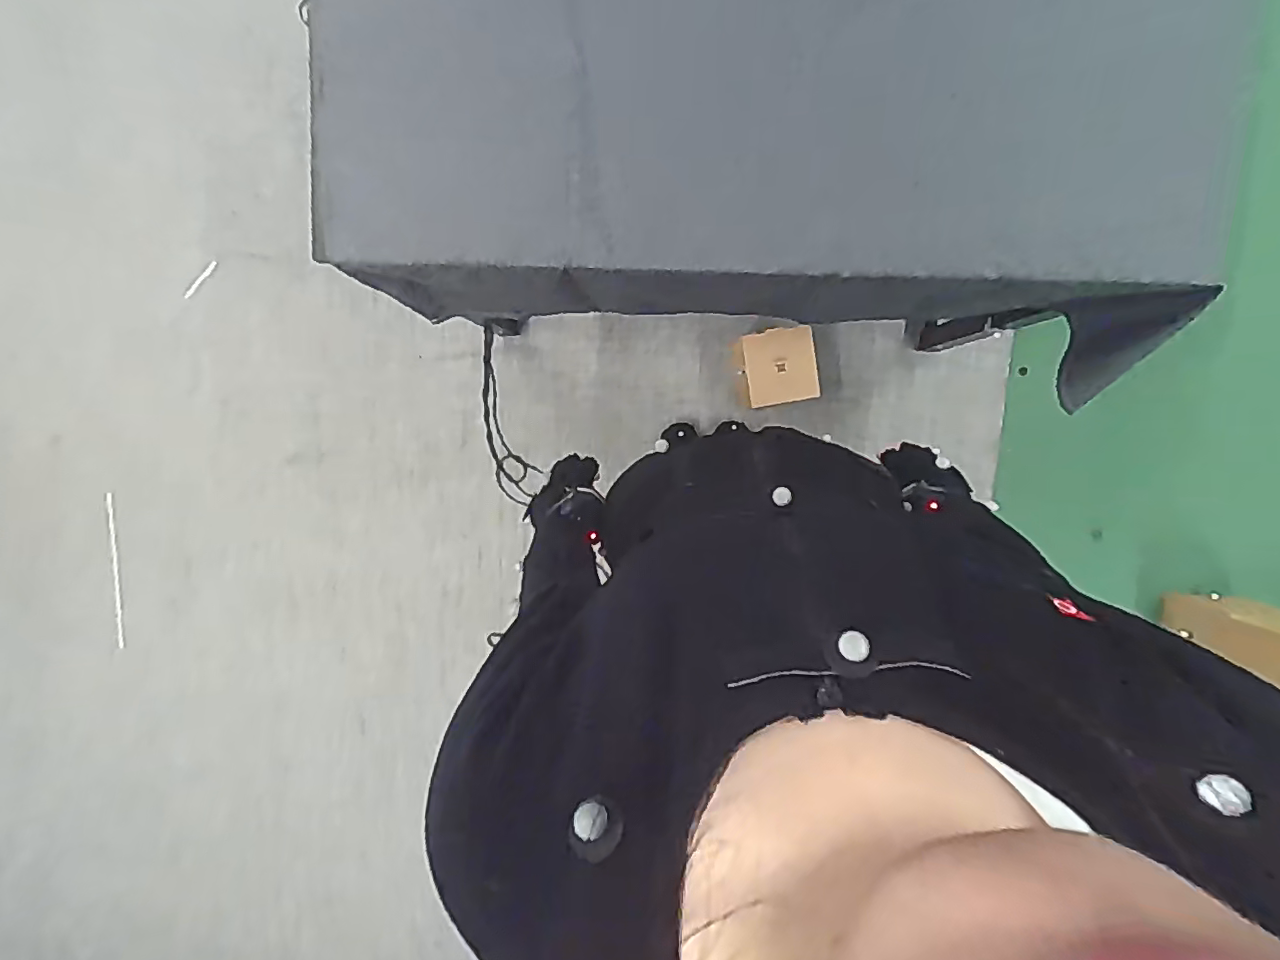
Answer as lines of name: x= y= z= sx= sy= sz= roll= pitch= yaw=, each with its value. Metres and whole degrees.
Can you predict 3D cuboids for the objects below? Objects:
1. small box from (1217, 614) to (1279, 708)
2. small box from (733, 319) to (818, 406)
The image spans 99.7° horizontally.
small box: x=1.451 y=0.407 z=1.198 sx=0.168 sy=0.176 sz=0.179 roll=1 pitch=97 yaw=3
small box: x=0.334 y=-0.287 z=1.355 sx=0.168 sy=0.176 sz=0.179 roll=-9 pitch=95 yaw=4
